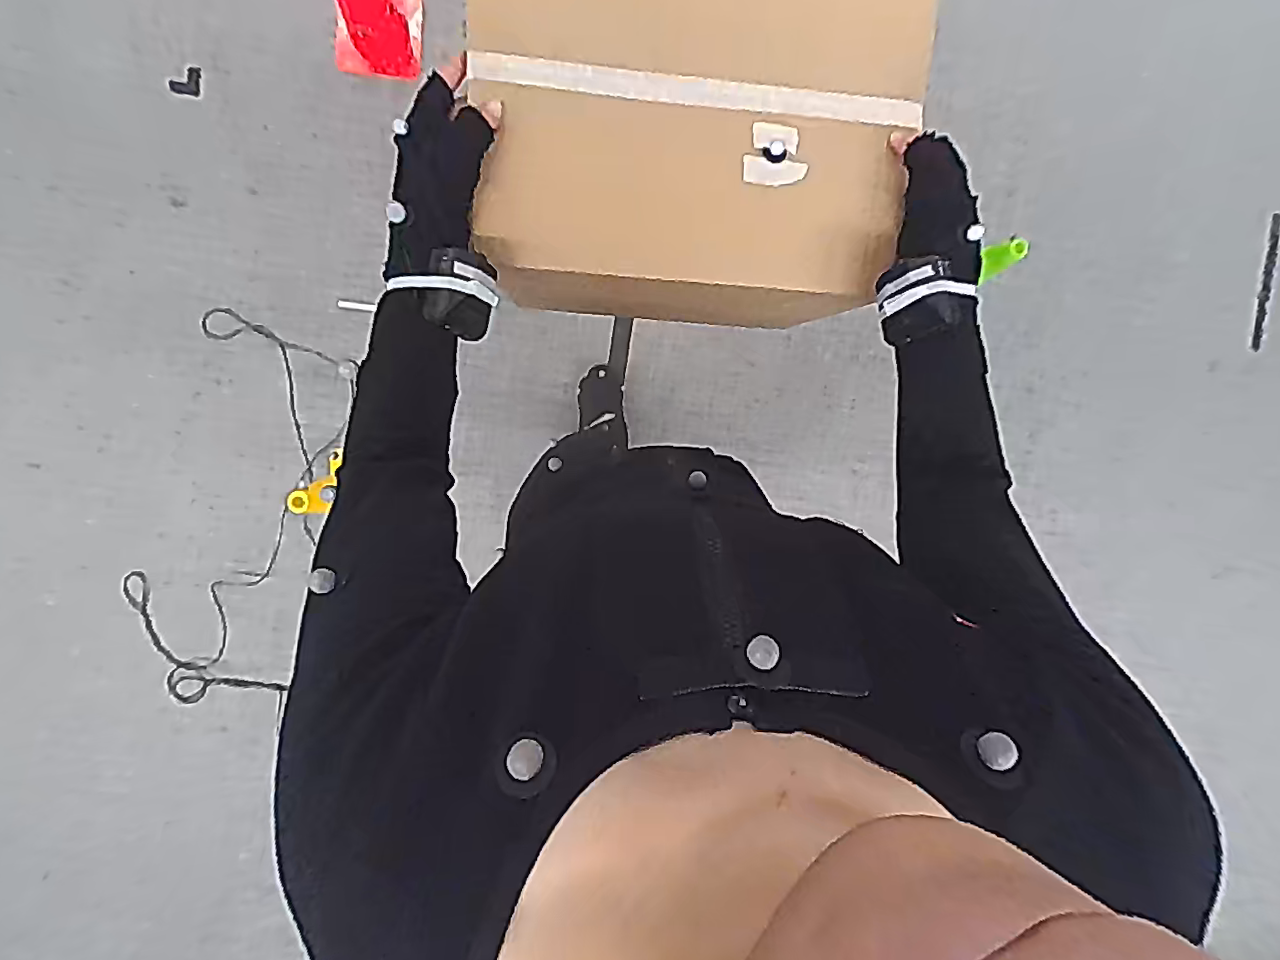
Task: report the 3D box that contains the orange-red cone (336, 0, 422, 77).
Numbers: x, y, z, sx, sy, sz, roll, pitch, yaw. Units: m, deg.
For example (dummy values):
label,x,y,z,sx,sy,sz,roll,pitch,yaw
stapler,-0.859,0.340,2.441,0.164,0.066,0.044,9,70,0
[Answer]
label,x,y,z,sx,sy,sz,roll,pitch,yaw
orange-red cone,-0.626,-1.085,1.154,0.198,0.360,0.199,5,95,-4

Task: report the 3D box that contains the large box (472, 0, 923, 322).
label,x,y,z,sx,sy,sz,roll,pitch,yaw
large box,0.037,-0.370,0.629,0.408,0.320,0.320,2,100,-6

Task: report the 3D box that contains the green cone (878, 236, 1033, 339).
label,x,y,z,sx,sy,sz,roll,pitch,yaw
green cone,0.787,-0.502,1.315,0.202,0.368,0.200,-30,97,-4
